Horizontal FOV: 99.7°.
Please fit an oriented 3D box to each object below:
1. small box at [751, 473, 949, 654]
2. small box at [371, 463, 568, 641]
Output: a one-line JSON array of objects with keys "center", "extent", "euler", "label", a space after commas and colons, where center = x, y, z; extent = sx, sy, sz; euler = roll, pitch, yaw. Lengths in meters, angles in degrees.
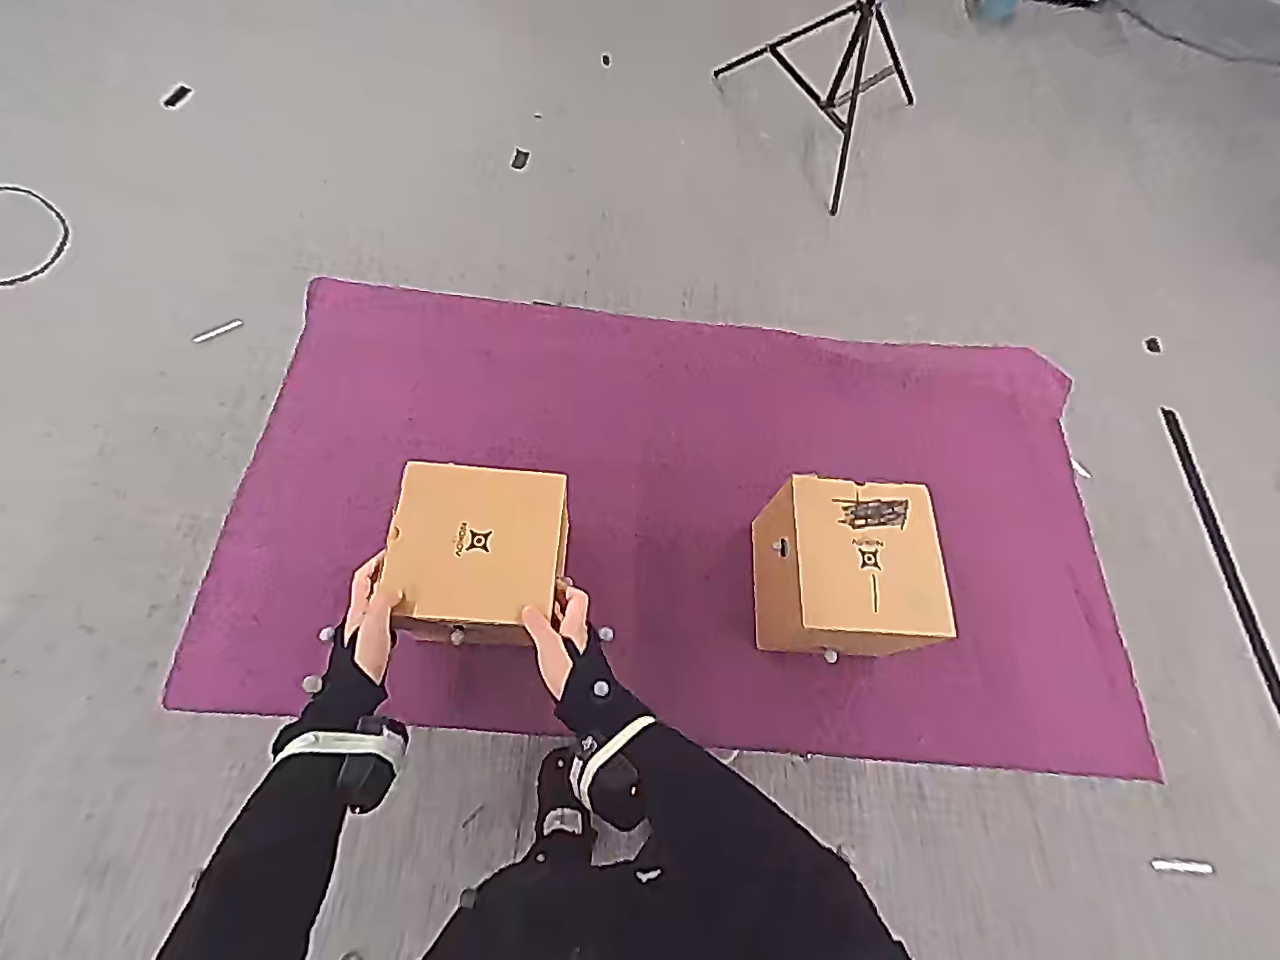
[{"center": [0.240, 0.110, 0.668], "extent": [0.168, 0.176, 0.179], "euler": [4, 66, -3], "label": "small box"}, {"center": [-0.179, 0.093, 0.634], "extent": [0.179, 0.176, 0.168], "euler": [4, 67, -3], "label": "small box"}]
